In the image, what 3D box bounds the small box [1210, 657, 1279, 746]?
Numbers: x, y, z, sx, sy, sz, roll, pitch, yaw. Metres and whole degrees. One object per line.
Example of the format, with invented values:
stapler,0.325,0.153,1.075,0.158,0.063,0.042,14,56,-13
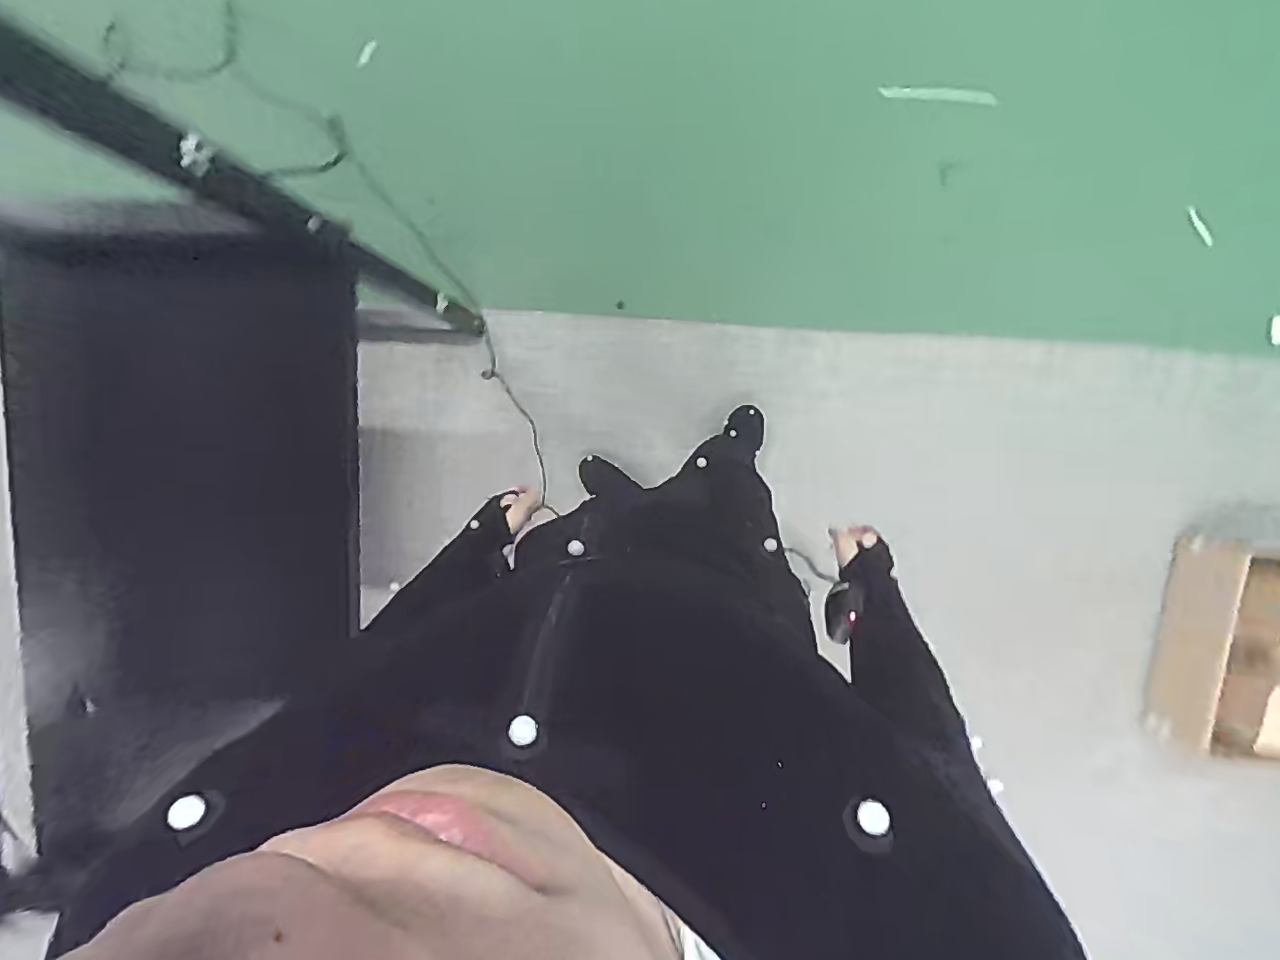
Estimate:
small box,1.738,0.612,1.483,0.168,0.176,0.179,8,96,1
